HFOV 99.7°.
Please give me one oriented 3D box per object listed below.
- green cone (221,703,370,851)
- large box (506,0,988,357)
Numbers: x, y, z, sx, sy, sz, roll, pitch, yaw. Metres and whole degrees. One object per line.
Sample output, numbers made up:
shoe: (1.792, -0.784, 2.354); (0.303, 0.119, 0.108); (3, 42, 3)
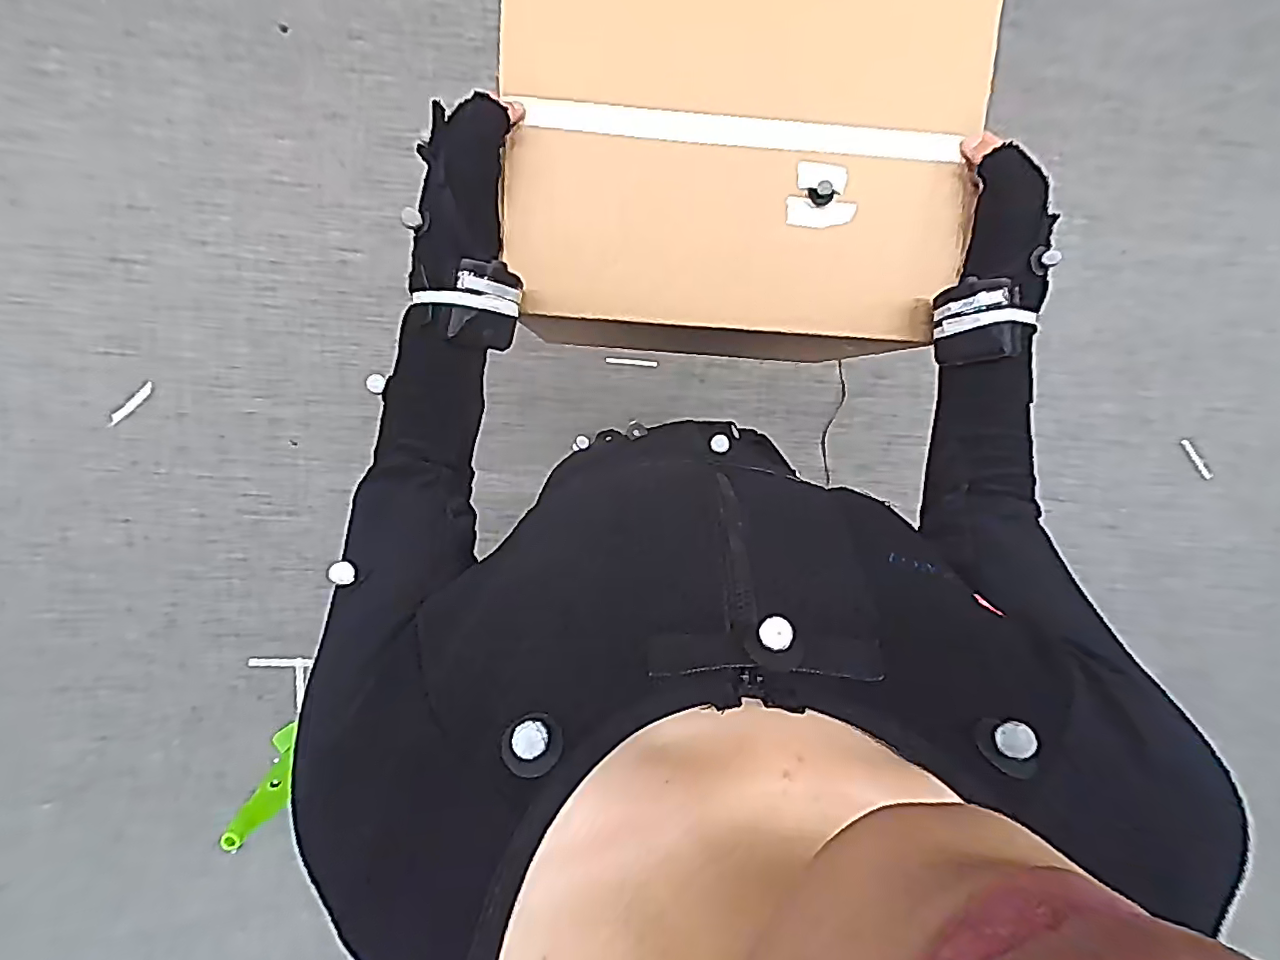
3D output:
green cone: (-0.886, 0.765, 1.349); (0.202, 0.368, 0.200); (-34, 95, 3)
large box: (0.077, -0.313, 0.602); (0.408, 0.320, 0.320); (3, 99, -4)
